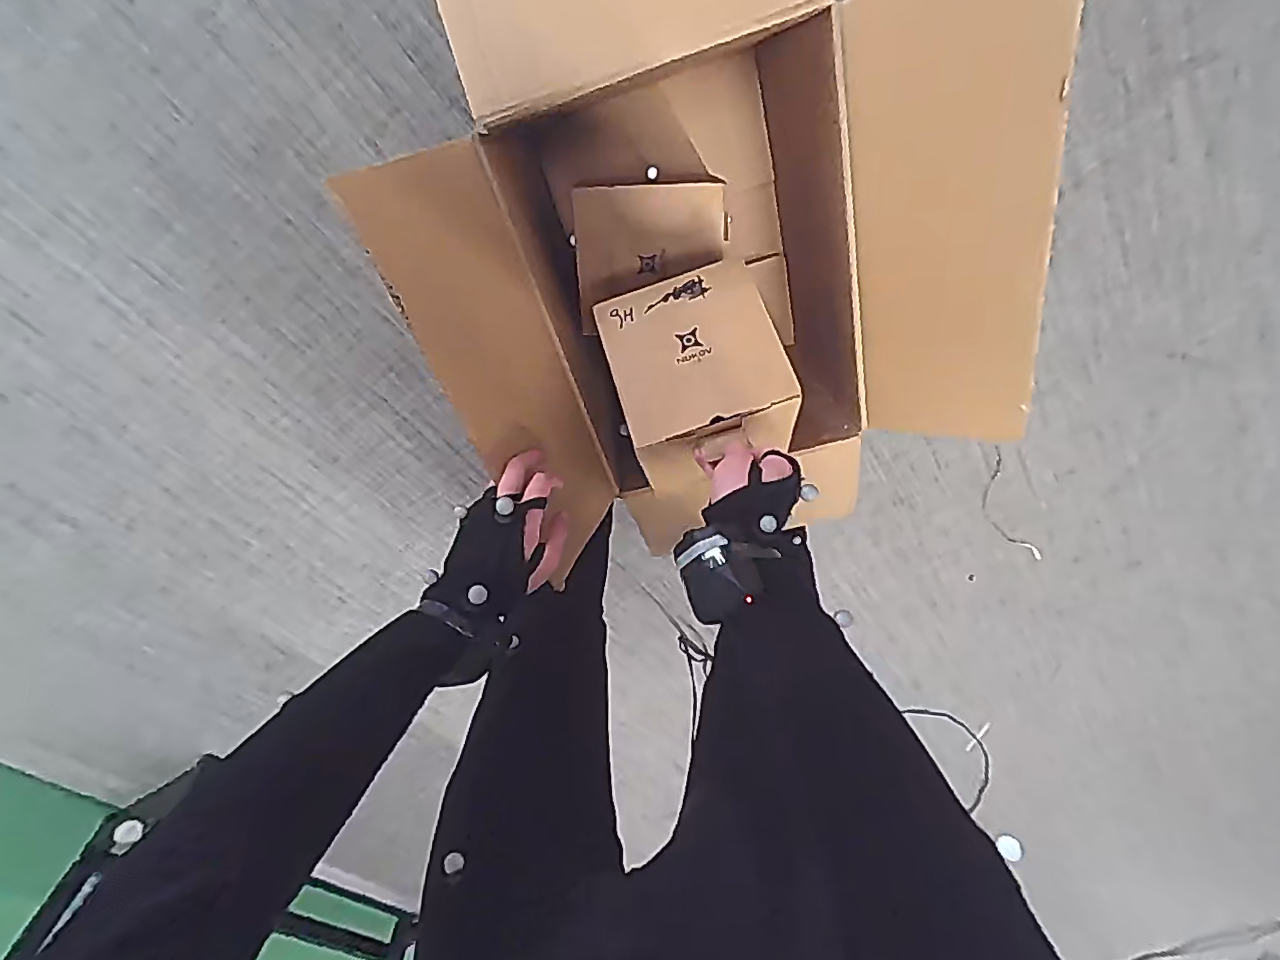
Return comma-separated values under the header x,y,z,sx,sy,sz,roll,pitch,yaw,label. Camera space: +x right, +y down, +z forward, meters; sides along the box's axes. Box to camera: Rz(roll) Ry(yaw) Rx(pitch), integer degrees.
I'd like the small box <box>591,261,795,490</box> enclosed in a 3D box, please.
x,y,z,sx,sy,sz,roll,pitch,yaw,label
0.063,-0.102,0.616,0.168,0.179,0.176,-20,159,3,small box
